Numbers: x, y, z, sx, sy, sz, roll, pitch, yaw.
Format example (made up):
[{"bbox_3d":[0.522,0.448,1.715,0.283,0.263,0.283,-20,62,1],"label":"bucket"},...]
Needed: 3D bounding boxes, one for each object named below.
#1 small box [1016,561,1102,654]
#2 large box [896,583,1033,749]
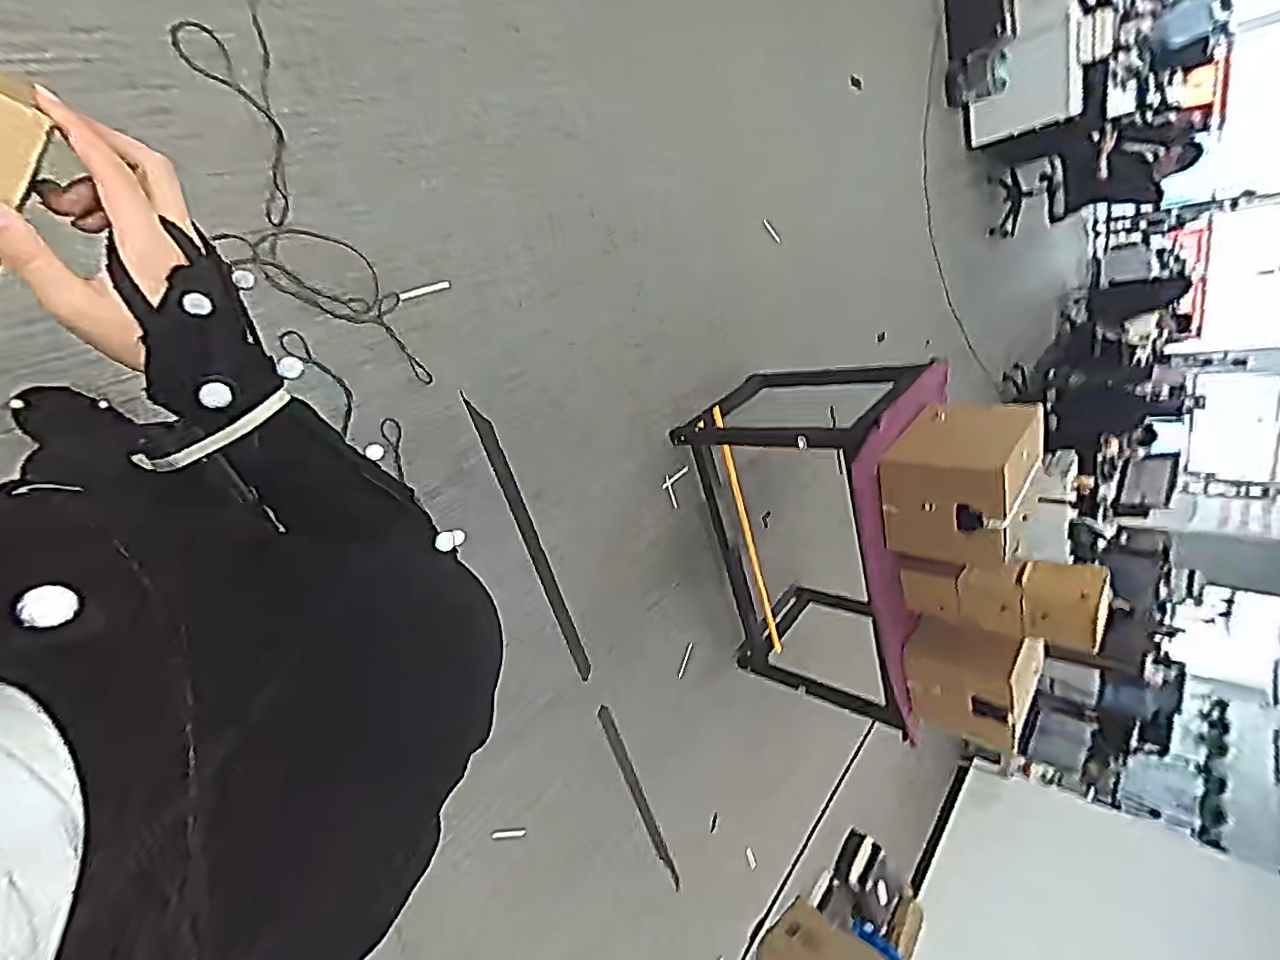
[{"bbox_3d":[1.189,0.353,1.537,0.179,0.176,0.168,-40,121,-33],"label":"small box"},{"bbox_3d":[1.126,0.617,1.870,0.408,0.320,0.320,-37,119,-37],"label":"large box"}]
